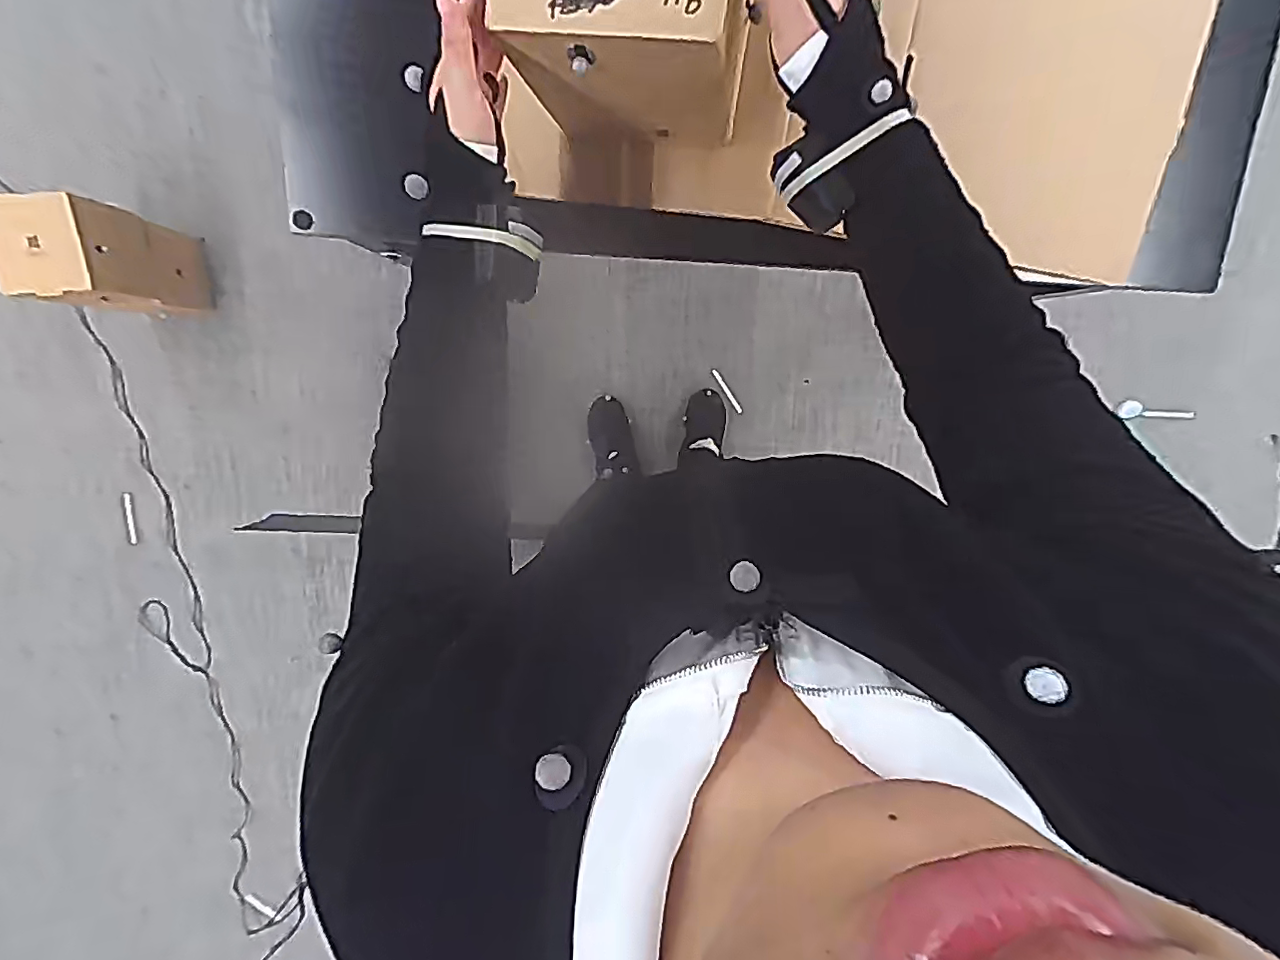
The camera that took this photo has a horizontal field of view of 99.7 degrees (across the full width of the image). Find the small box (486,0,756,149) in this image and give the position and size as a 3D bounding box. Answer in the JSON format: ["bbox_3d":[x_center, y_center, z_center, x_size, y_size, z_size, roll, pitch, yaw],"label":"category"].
[{"bbox_3d":[0.002,-0.391,0.416,0.168,0.176,0.179,11,102,9],"label":"small box"}]

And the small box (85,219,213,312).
[{"bbox_3d":[-1.128,-0.483,1.235,0.168,0.176,0.179,-2,104,-3],"label":"small box"}]

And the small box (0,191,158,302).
[{"bbox_3d":[-1.119,-0.453,1.075,0.168,0.176,0.179,-5,102,-3],"label":"small box"}]
